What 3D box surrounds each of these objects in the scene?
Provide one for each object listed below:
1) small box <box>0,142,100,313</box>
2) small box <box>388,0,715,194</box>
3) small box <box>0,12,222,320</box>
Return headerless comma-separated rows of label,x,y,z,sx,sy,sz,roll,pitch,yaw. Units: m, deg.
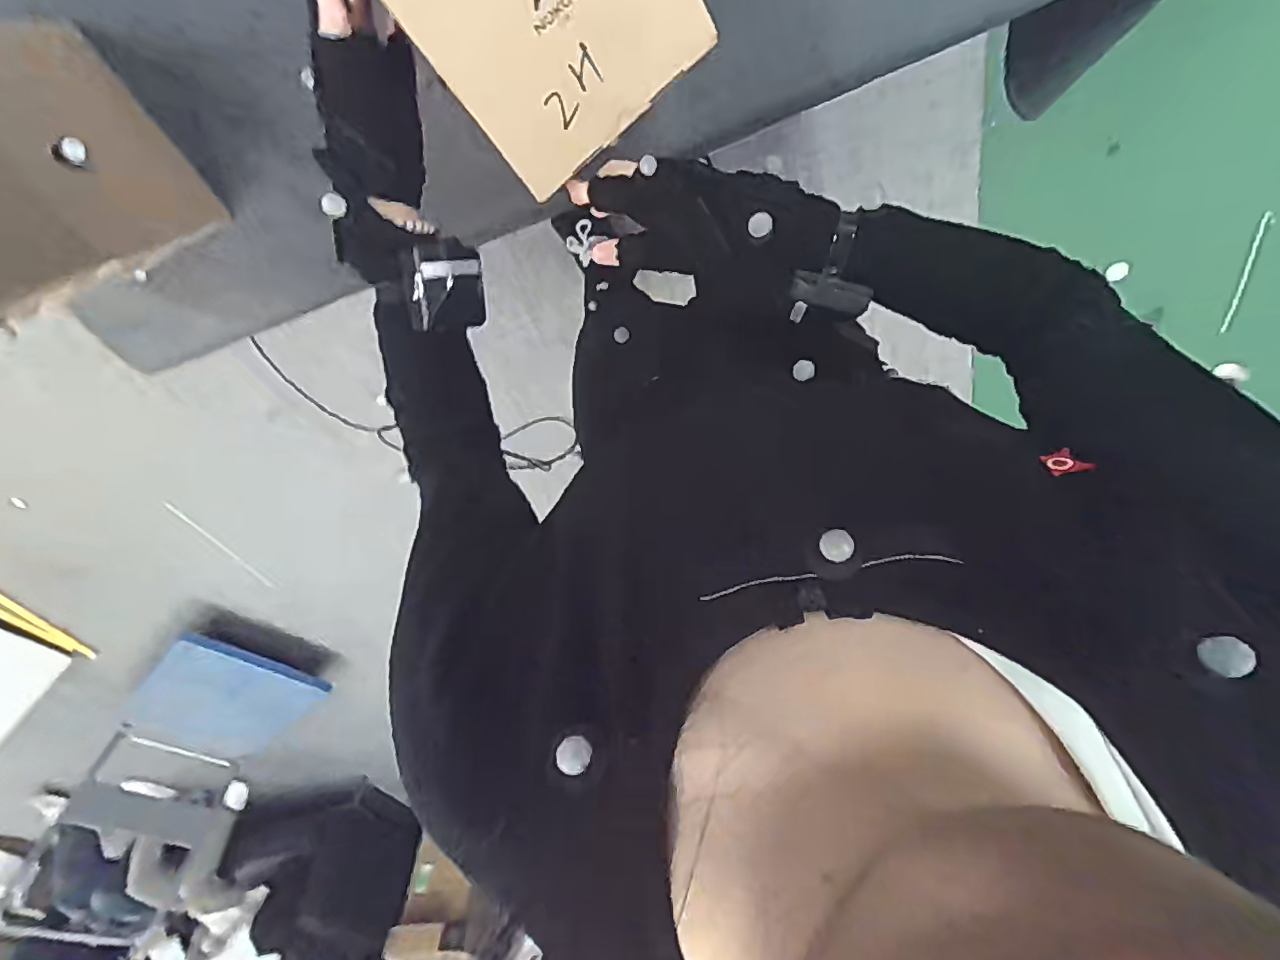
small box,-0.534,-0.174,0.349,0.168,0.176,0.179,-19,127,12
small box,-0.075,-0.353,0.404,0.168,0.176,0.179,-34,125,14
small box,-0.539,-0.275,0.476,0.168,0.176,0.179,-19,128,13
